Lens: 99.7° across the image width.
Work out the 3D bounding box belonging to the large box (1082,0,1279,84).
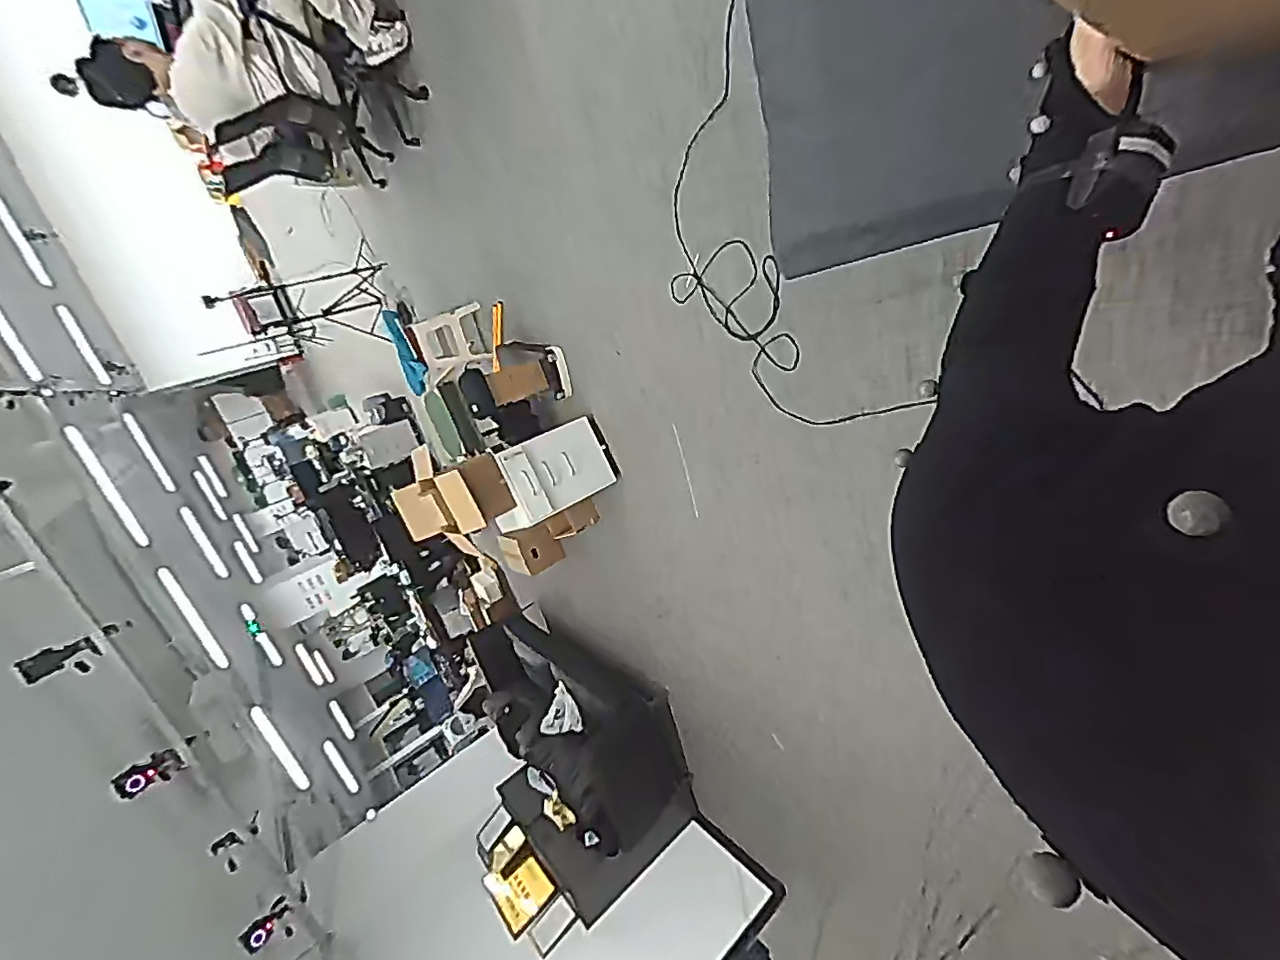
[{"bbox_3d":[0.424,-0.428,0.184,0.408,0.320,0.320,8,110,52],"label":"large box"}]
